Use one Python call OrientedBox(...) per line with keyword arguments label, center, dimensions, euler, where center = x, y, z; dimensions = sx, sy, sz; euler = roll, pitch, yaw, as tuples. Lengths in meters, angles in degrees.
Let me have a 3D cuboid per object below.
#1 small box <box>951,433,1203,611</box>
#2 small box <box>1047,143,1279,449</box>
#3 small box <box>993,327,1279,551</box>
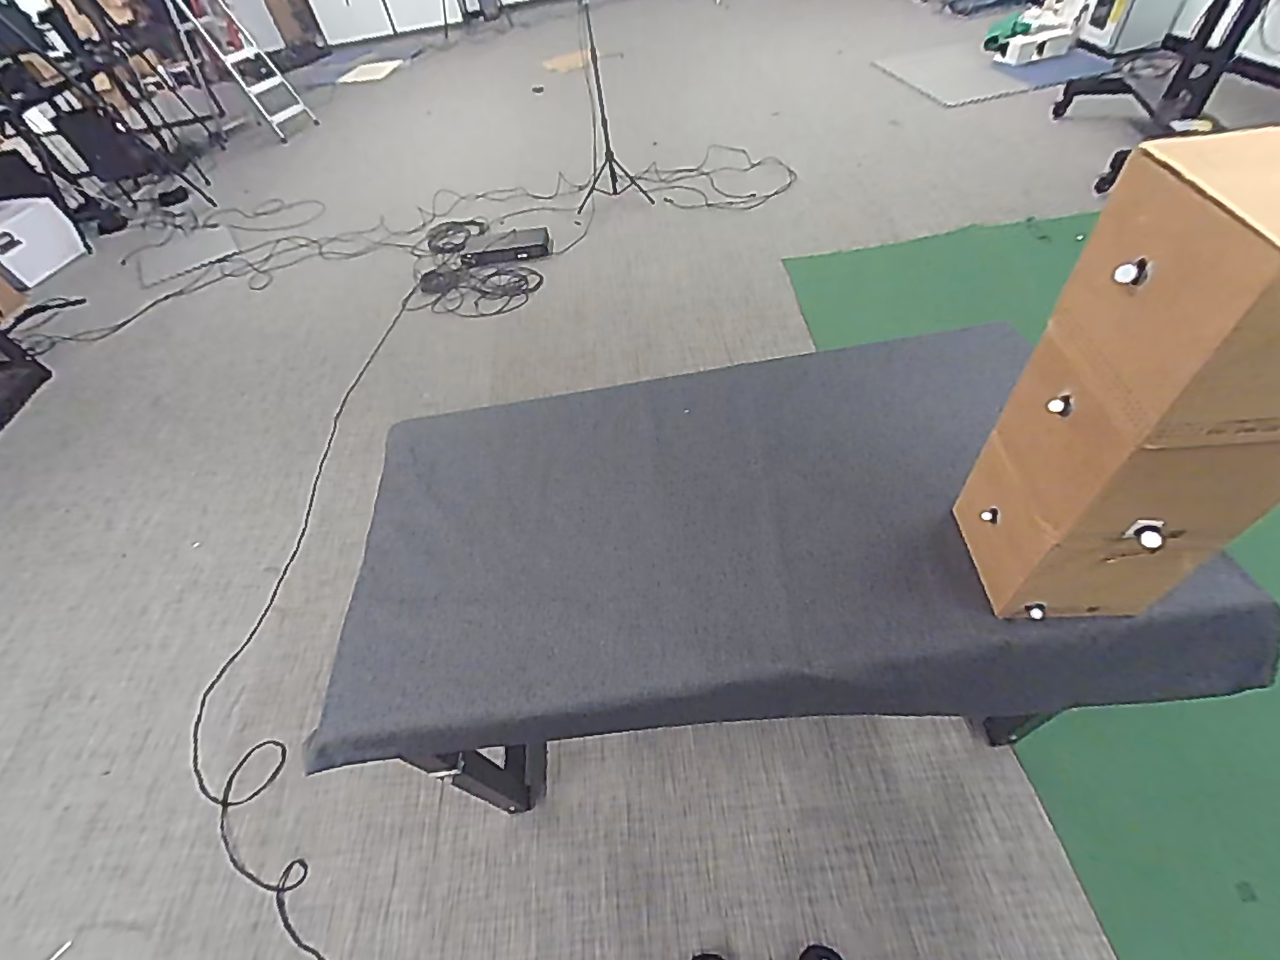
OrientedBox(label="small box", center=(0.526, 0.055, 0.684), dimensions=(0.168, 0.176, 0.179), euler=(-3, 49, 7))
OrientedBox(label="small box", center=(0.475, -0.145, 0.432), dimensions=(0.168, 0.176, 0.179), euler=(-3, 49, 8))
OrientedBox(label="small box", center=(0.503, -0.044, 0.558), dimensions=(0.168, 0.176, 0.179), euler=(-3, 51, 9))
